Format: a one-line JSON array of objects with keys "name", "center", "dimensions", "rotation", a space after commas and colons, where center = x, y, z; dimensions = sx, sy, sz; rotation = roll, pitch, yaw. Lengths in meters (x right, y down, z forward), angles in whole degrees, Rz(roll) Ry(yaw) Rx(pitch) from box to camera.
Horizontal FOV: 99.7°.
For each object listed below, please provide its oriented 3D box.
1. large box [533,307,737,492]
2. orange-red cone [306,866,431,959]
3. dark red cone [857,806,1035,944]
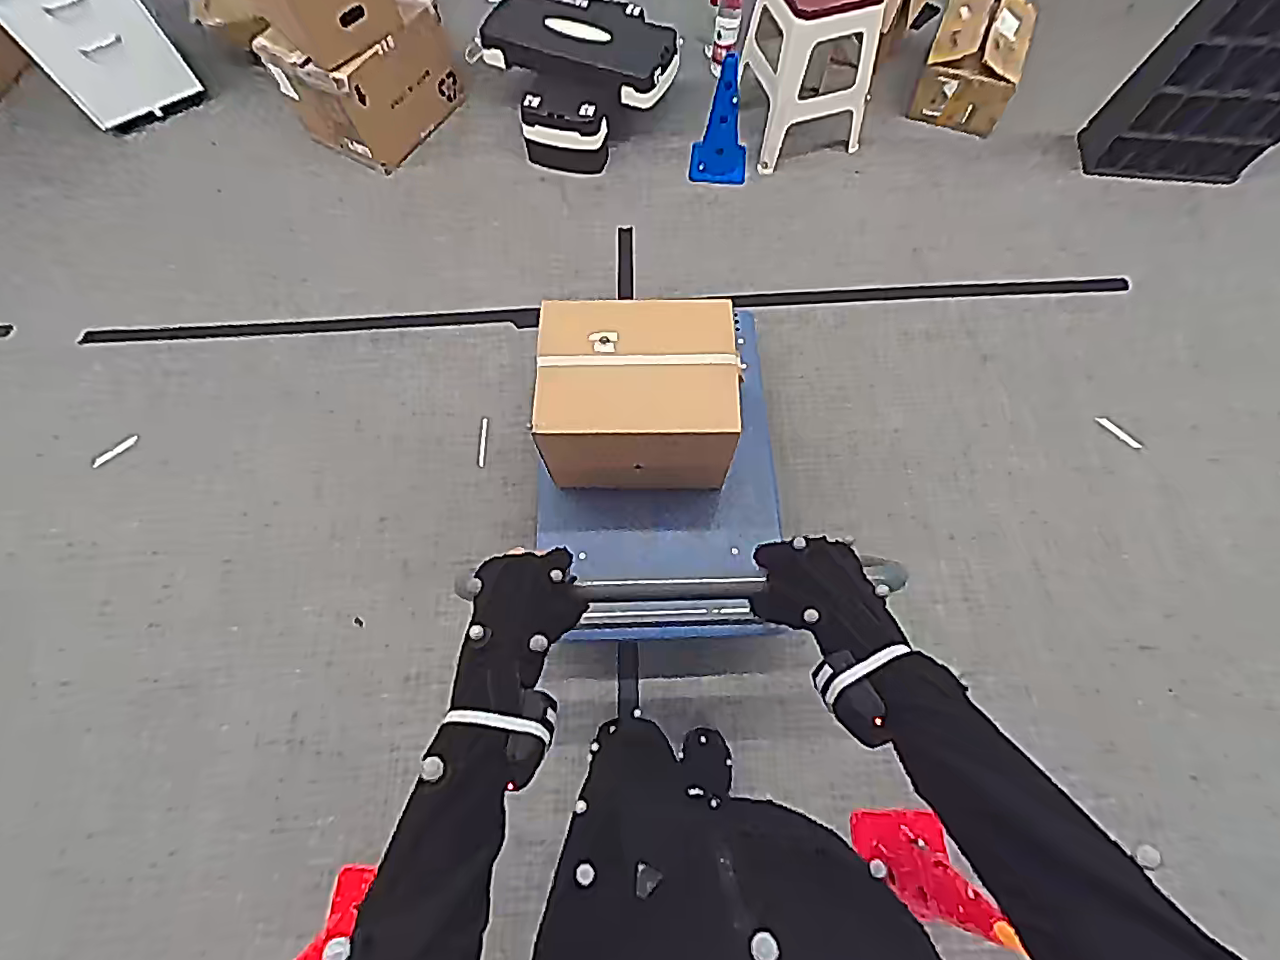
[{"name": "large box", "center": [-0.006, -0.166, 1.234], "dimensions": [0.408, 0.320, 0.320], "rotation": [-1, 69, 2]}, {"name": "orange-red cone", "center": [-0.559, 0.878, 0.989], "dimensions": [0.198, 0.360, 0.199], "rotation": [5, 67, 3]}, {"name": "dark red cone", "center": [0.567, 0.742, 0.982], "dimensions": [0.201, 0.394, 0.202], "rotation": [-2, 68, -1]}]
